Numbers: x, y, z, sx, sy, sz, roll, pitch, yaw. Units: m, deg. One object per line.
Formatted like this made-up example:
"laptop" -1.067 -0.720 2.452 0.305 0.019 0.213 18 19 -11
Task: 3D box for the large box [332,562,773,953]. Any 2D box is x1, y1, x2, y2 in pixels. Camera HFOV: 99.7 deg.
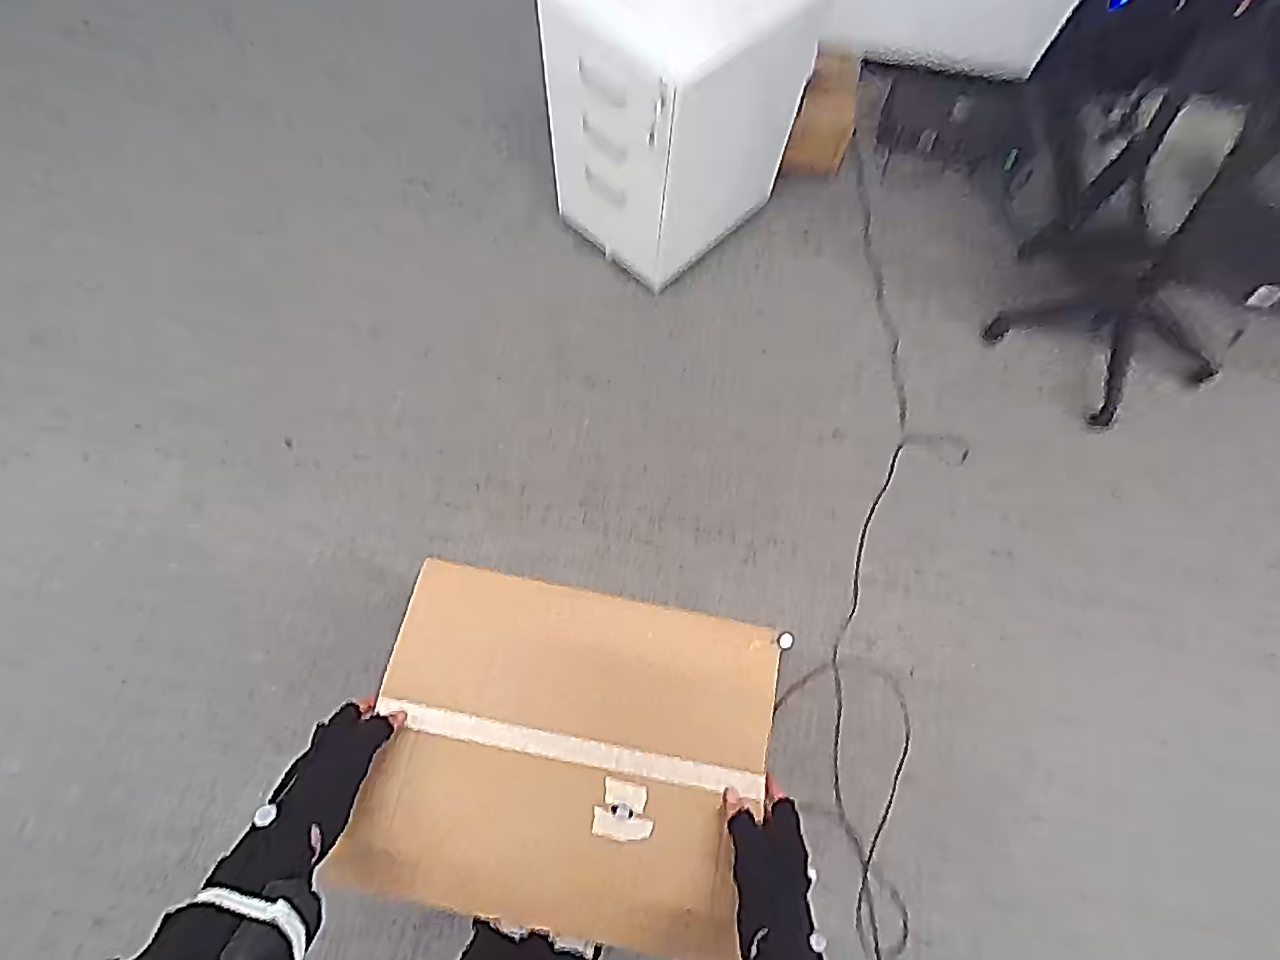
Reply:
"large box" -0.081 0.316 0.697 0.408 0.320 0.320 11 72 1
